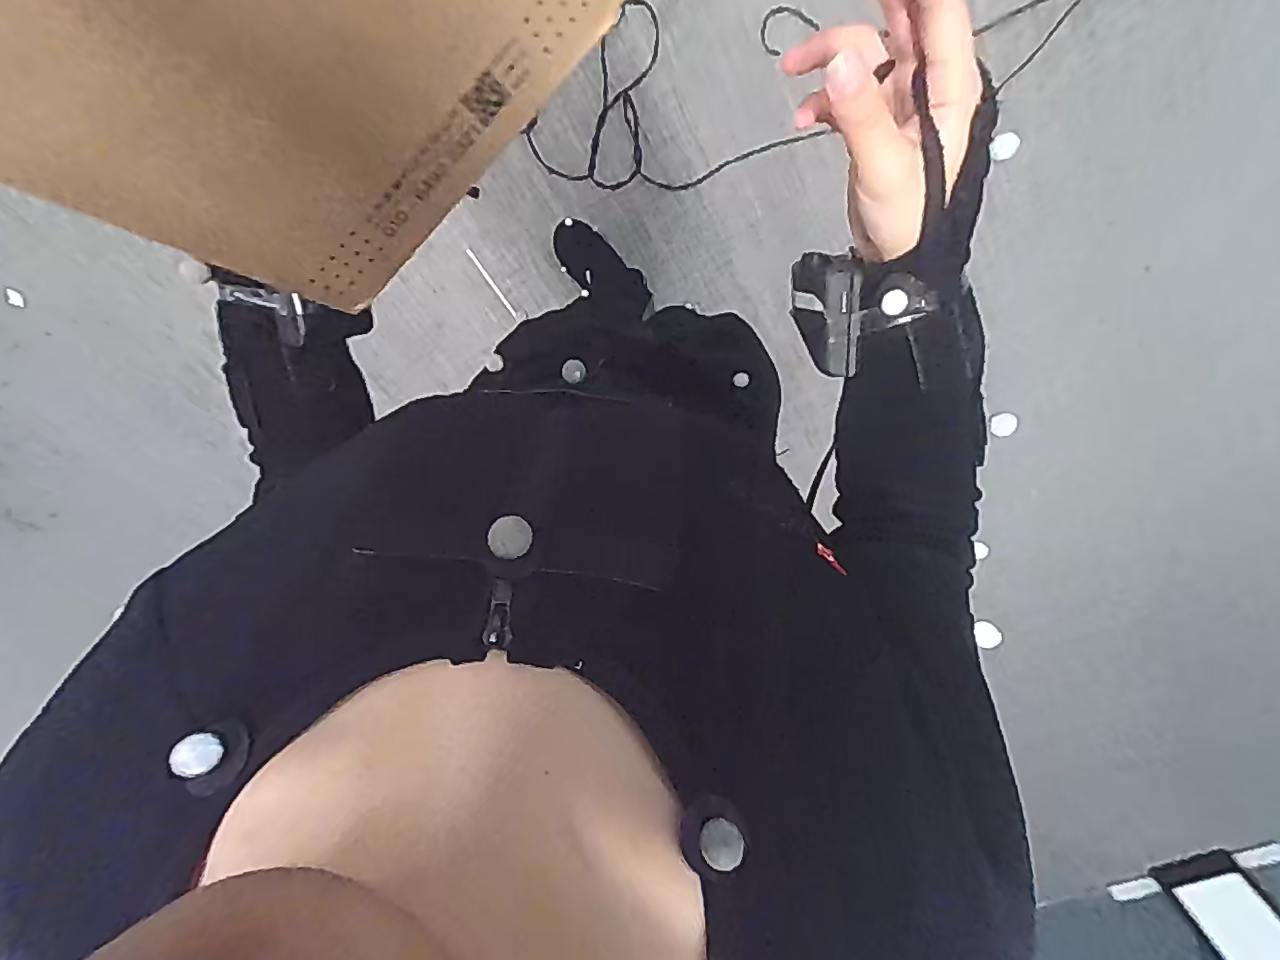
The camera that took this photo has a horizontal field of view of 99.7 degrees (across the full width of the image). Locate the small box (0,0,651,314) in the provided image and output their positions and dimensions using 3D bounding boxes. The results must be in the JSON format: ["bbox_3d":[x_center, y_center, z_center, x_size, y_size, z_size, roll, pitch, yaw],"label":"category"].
[{"bbox_3d":[-0.126,-0.186,0.172,0.168,0.176,0.179,-40,75,15],"label":"small box"}]
